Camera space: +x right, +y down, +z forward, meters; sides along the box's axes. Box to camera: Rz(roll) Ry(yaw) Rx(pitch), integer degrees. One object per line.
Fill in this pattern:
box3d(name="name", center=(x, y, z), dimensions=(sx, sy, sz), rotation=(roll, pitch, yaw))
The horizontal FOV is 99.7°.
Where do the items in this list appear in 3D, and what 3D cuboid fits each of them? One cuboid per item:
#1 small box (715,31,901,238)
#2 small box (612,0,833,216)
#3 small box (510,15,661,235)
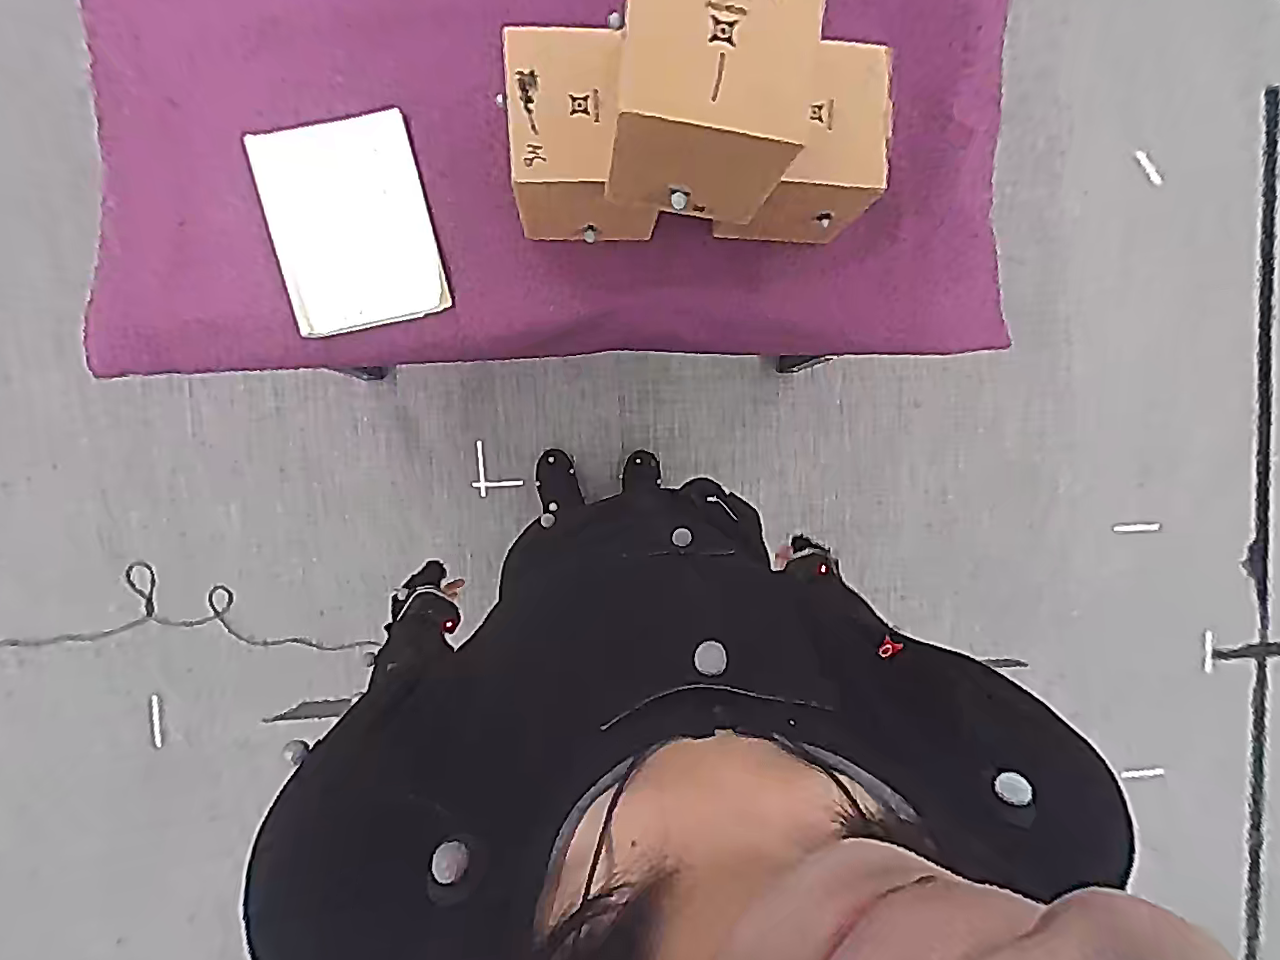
box3d(name="small box", center=(0.203, -0.427, 0.692), dimensions=(0.179, 0.176, 0.168), rotation=(1, 91, -4))
box3d(name="small box", center=(0.066, -0.385, 0.515), dimensions=(0.168, 0.176, 0.179), rotation=(7, 93, -7))
box3d(name="small box", center=(-0.061, -0.417, 0.666), dimensions=(0.179, 0.176, 0.168), rotation=(-2, 93, -6))
